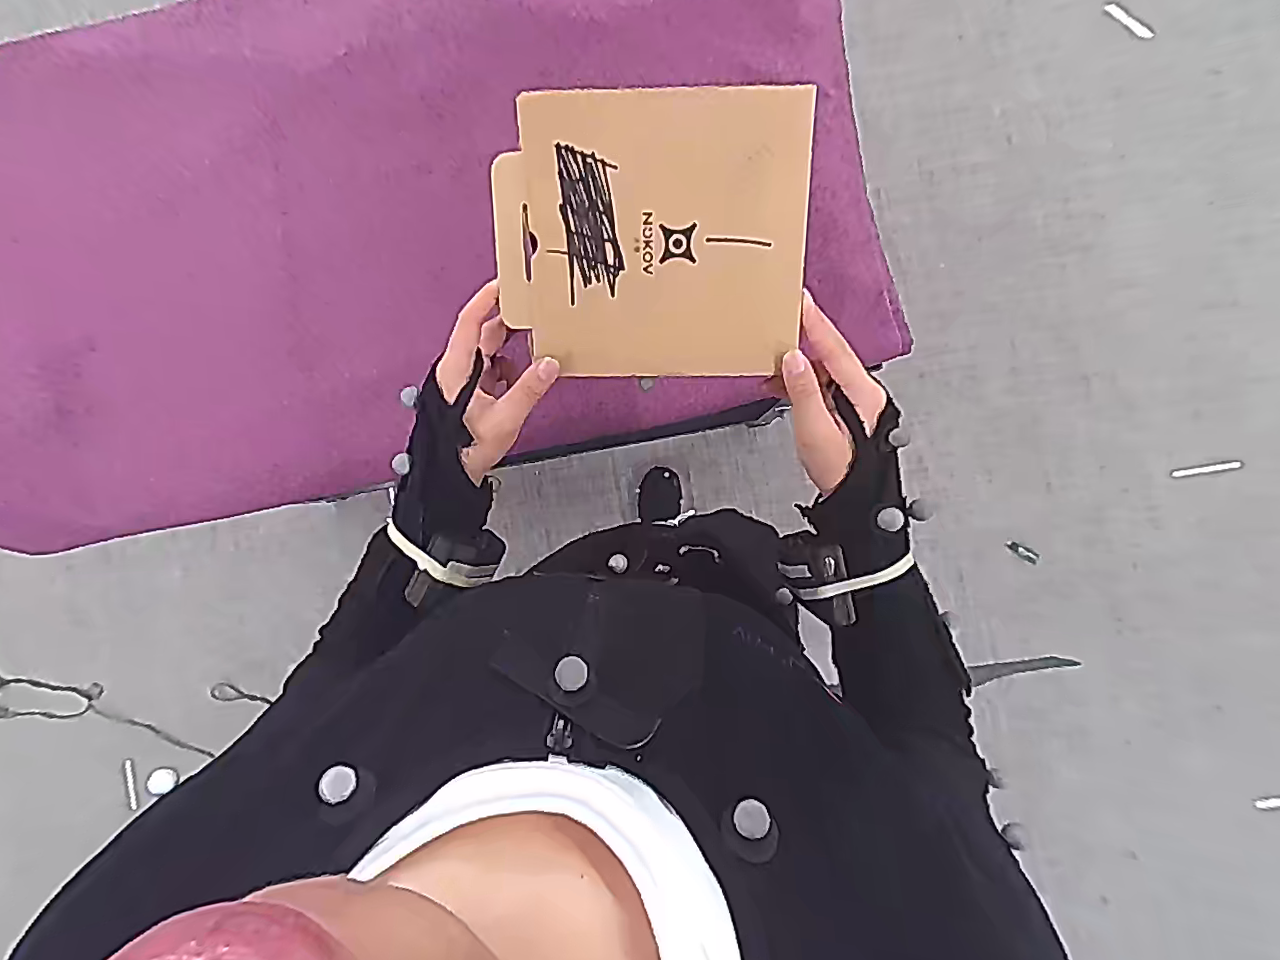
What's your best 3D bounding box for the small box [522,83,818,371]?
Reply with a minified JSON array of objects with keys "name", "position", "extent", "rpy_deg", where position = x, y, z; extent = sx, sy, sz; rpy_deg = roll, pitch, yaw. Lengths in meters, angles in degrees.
[{"name":"small box","position":[0.019,-0.172,0.413],"extent":[0.179,0.176,0.168],"rpy_deg":[0,106,1]}]
